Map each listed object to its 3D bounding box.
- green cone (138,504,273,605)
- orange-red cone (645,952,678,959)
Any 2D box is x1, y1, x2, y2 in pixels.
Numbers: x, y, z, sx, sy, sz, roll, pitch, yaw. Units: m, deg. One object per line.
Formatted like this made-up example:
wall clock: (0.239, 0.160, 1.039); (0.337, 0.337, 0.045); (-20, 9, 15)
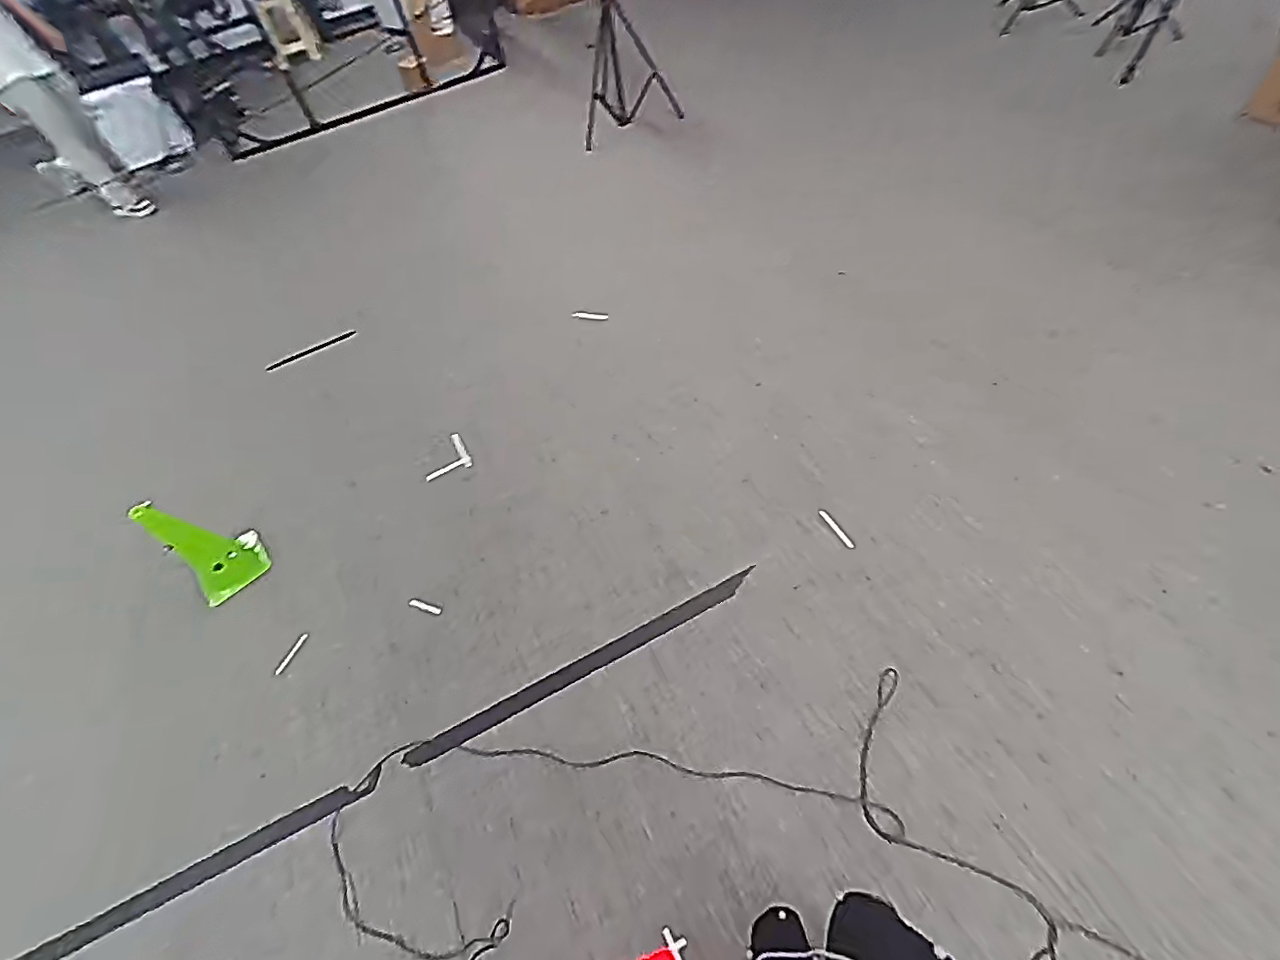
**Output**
green cone: (-1.333, 0.187, 1.618); (0.202, 0.368, 0.200); (-40, 59, -19)
orange-red cone: (-0.017, 0.937, 0.871); (0.199, 0.360, 0.198); (-21, 54, -4)
